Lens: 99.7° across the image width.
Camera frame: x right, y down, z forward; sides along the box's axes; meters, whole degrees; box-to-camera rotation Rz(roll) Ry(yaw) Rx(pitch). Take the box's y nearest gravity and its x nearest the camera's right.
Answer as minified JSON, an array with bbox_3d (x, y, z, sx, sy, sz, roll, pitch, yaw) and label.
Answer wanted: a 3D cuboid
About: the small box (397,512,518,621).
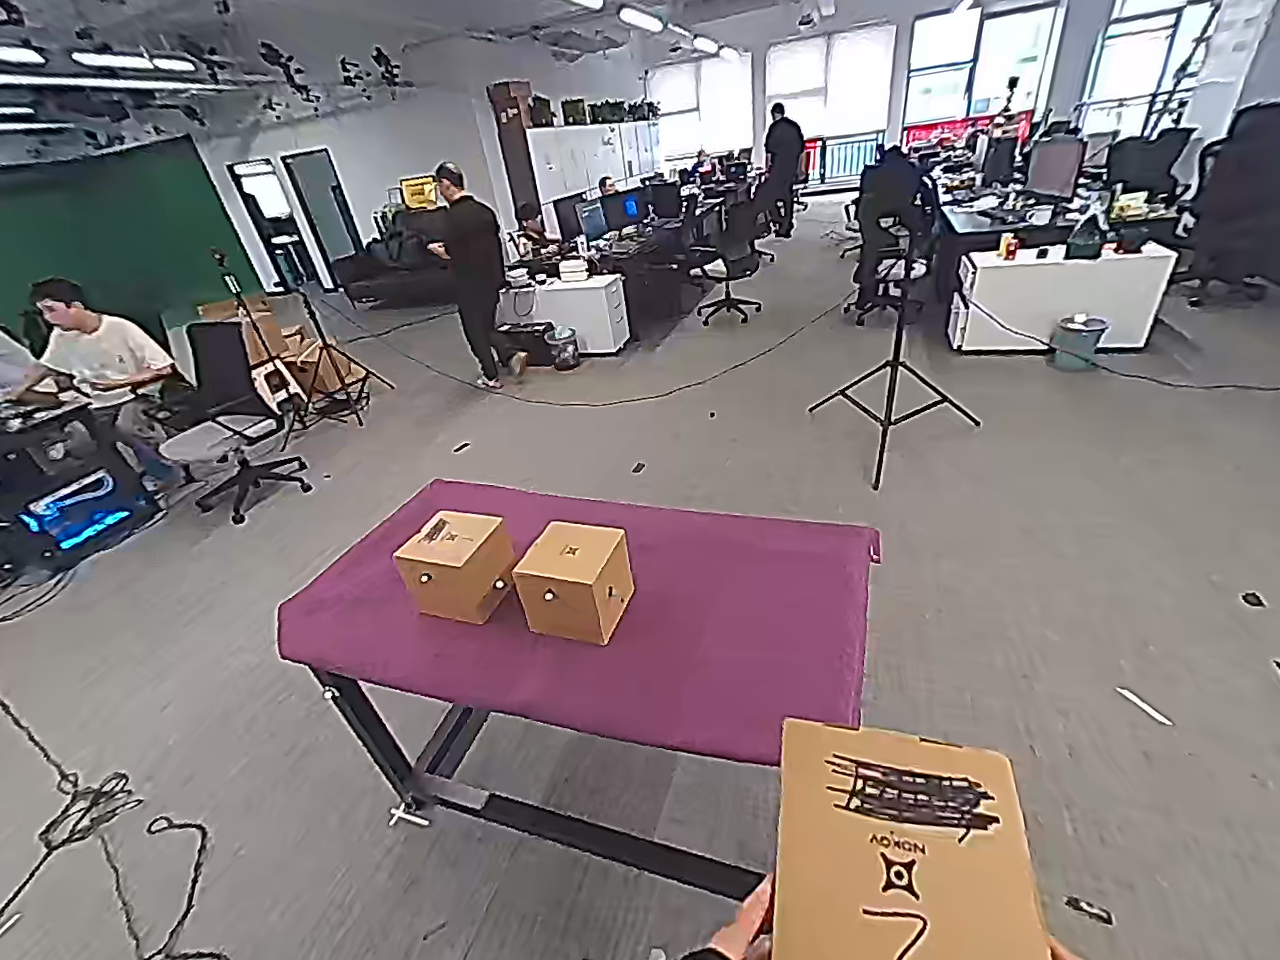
[{"bbox_3d":[-0.395,0.191,1.206,0.179,0.176,0.168,5,35,20],"label":"small box"}]

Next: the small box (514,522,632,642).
[{"bbox_3d":[-0.127,0.209,1.115,0.179,0.176,0.168,5,33,20],"label":"small box"}]
